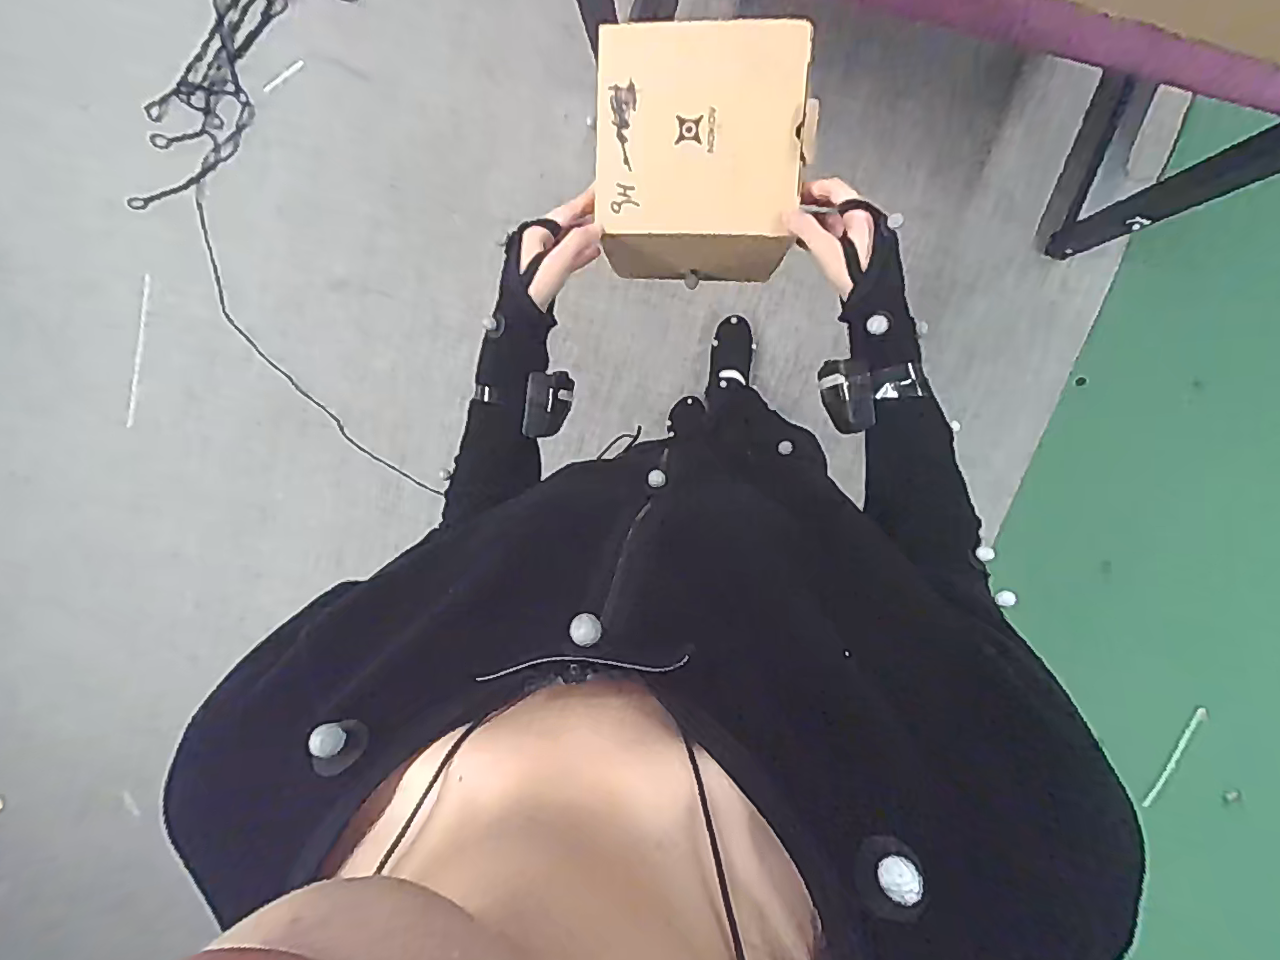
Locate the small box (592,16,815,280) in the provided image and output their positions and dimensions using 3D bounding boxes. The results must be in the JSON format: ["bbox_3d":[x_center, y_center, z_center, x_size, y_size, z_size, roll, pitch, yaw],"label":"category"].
[{"bbox_3d":[0.054,-0.300,0.525,0.179,0.176,0.168,3,96,3],"label":"small box"}]

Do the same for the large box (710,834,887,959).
[{"bbox_3d":[0.404,1.243,1.488,0.408,0.320,0.320,5,99,5],"label":"large box"}]
